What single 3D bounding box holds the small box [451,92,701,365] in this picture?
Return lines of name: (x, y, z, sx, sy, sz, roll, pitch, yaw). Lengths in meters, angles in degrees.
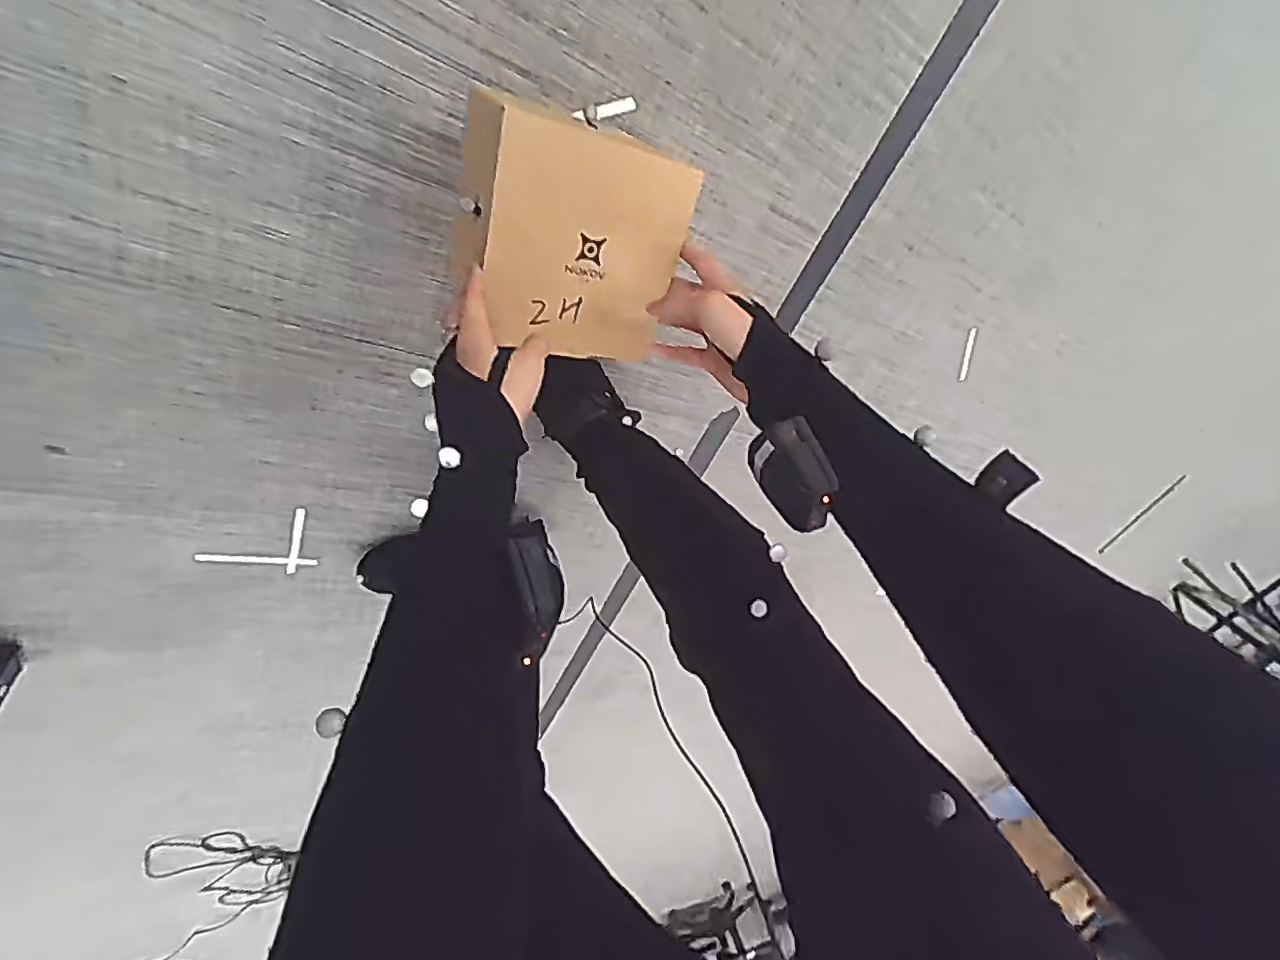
small box: (-0.074, -0.230, 0.500, 0.168, 0.176, 0.179, 0, 128, -28)
